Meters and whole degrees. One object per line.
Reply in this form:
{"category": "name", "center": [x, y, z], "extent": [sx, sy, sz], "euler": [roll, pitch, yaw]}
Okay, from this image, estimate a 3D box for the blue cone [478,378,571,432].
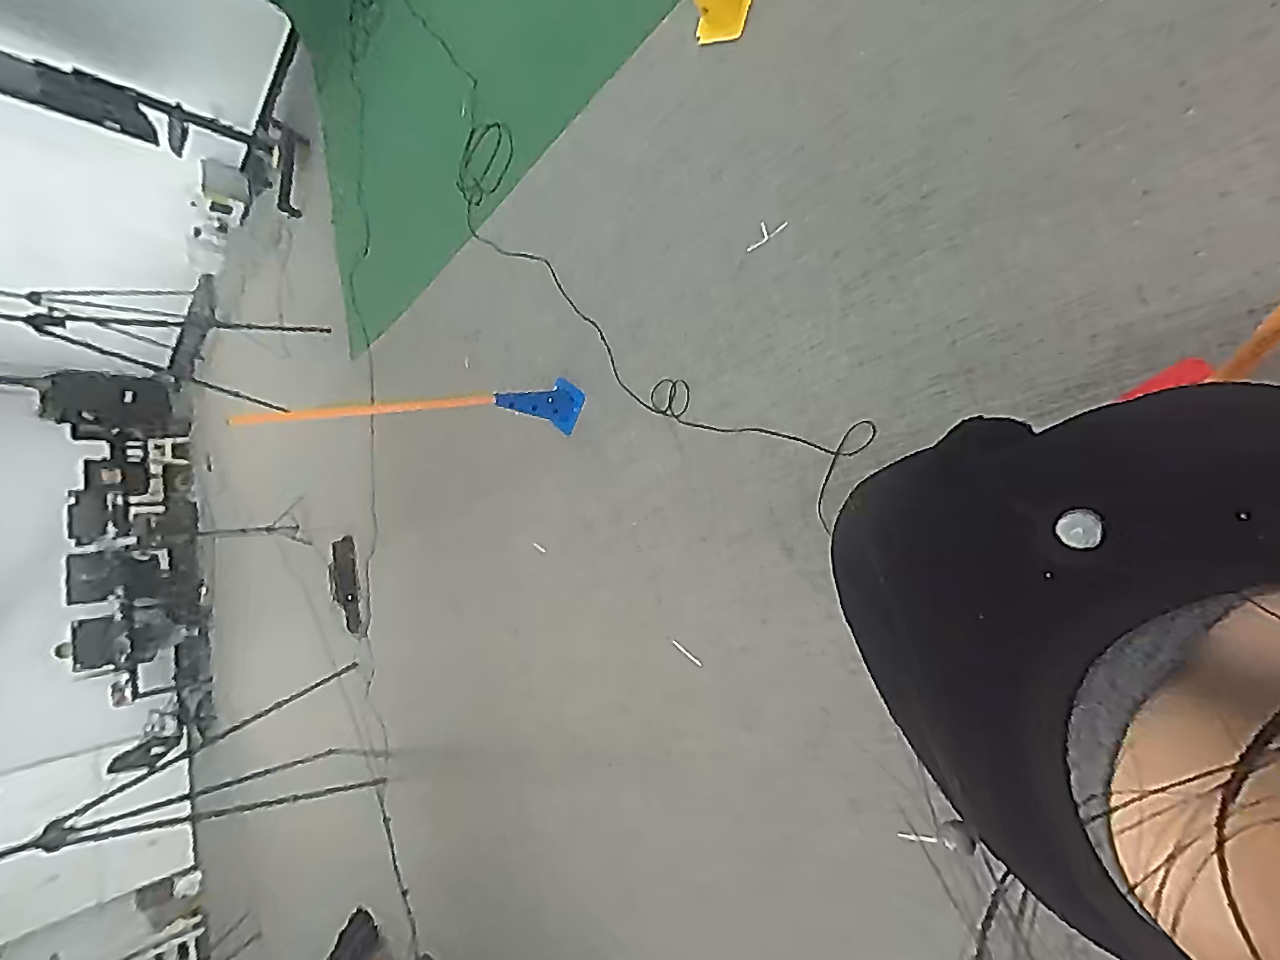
{"category": "blue cone", "center": [-0.474, -0.310, 2.174], "extent": [0.192, 0.380, 0.193], "euler": [38, 116, 33]}
